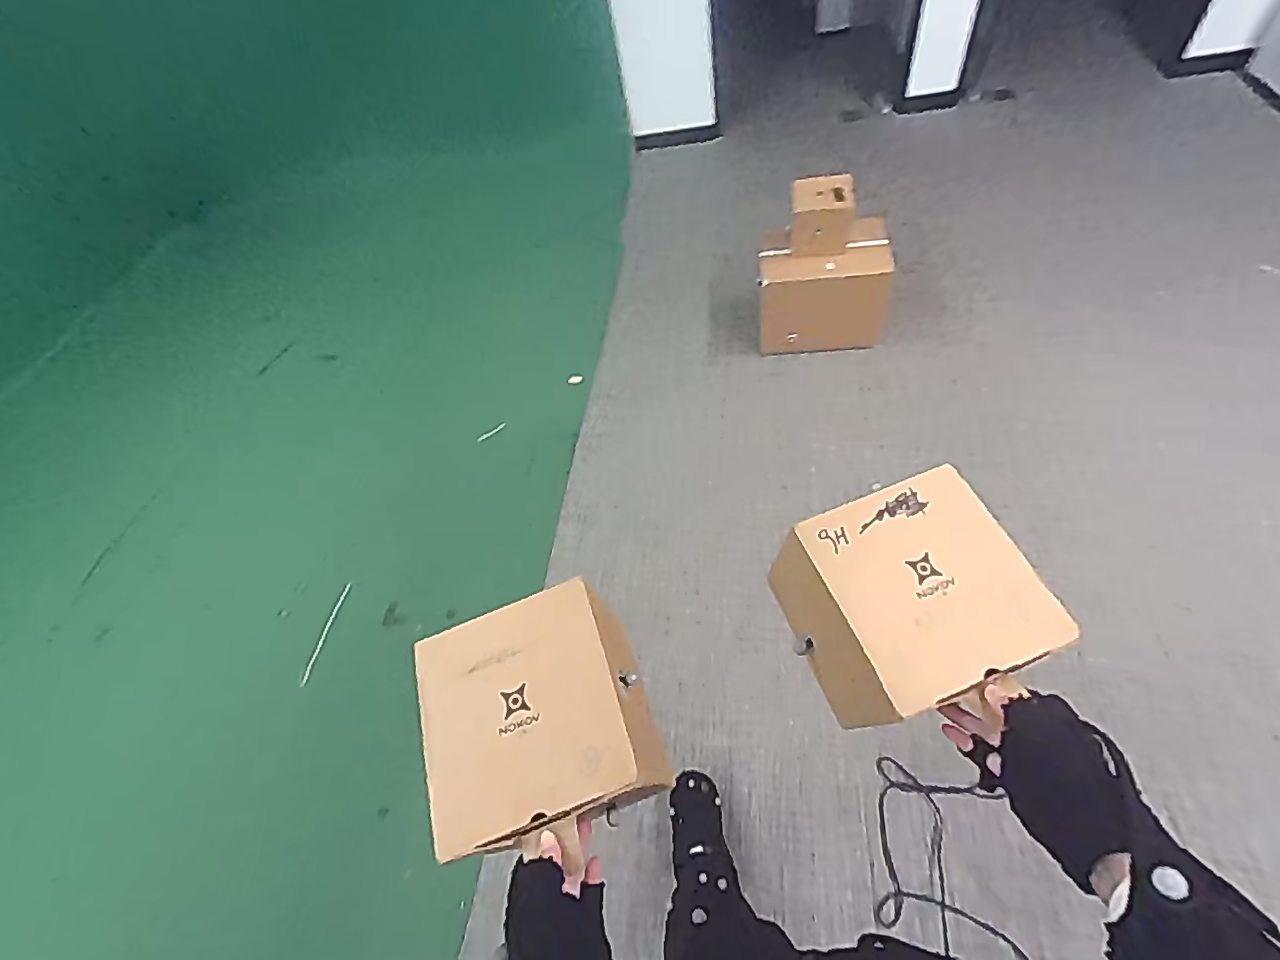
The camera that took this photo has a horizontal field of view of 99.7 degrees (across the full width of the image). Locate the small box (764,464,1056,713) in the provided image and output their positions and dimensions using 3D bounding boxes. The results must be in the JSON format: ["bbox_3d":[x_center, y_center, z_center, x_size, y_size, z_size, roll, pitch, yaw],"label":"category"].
[{"bbox_3d":[0.242,0.116,0.540,0.168,0.176,0.179,-20,65,-6],"label":"small box"}]

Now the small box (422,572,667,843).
[{"bbox_3d":[-0.085,0.220,0.526,0.168,0.176,0.179,-22,58,1],"label":"small box"}]

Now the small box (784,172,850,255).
[{"bbox_3d":[0.561,-0.847,1.729,0.179,0.176,0.168,-1,61,11],"label":"small box"}]
